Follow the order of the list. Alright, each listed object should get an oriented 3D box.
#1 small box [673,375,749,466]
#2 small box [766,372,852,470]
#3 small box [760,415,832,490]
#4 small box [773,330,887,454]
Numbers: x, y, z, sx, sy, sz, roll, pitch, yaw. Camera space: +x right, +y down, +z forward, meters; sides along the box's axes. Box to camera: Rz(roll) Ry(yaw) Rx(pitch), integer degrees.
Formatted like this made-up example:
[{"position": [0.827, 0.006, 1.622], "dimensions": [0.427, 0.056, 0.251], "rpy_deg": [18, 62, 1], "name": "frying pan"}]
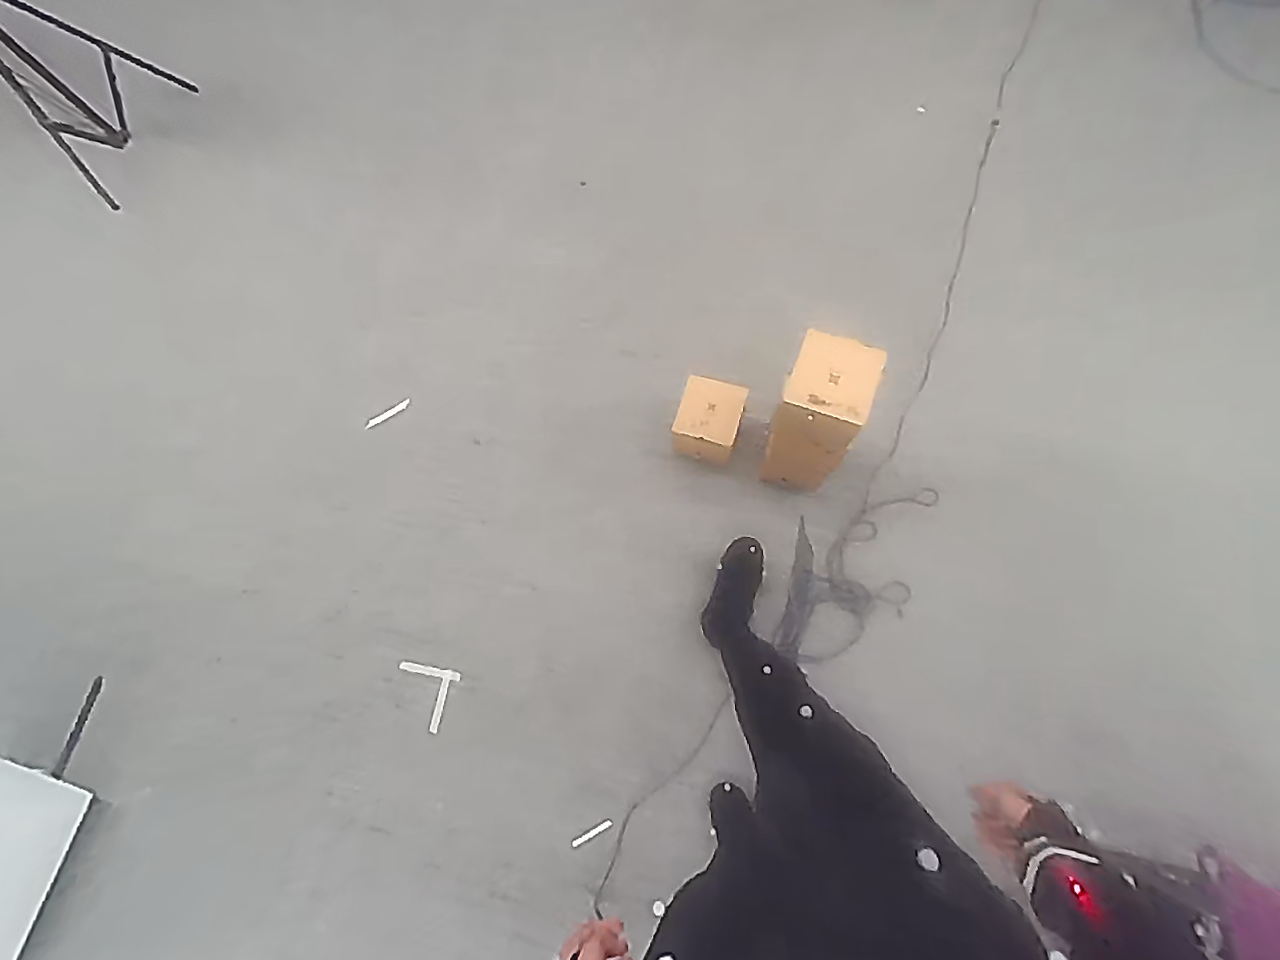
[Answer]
[{"position": [0.193, -0.161, 1.500], "dimensions": [0.168, 0.176, 0.179], "rpy_deg": [16, 76, 10], "name": "small box"}, {"position": [0.412, -0.136, 1.305], "dimensions": [0.179, 0.176, 0.168], "rpy_deg": [13, 75, 9], "name": "small box"}, {"position": [0.426, -0.090, 1.460], "dimensions": [0.168, 0.176, 0.179], "rpy_deg": [12, 75, 9], "name": "small box"}, {"position": [0.394, -0.181, 1.148], "dimensions": [0.168, 0.176, 0.179], "rpy_deg": [20, 75, 11], "name": "small box"}]
